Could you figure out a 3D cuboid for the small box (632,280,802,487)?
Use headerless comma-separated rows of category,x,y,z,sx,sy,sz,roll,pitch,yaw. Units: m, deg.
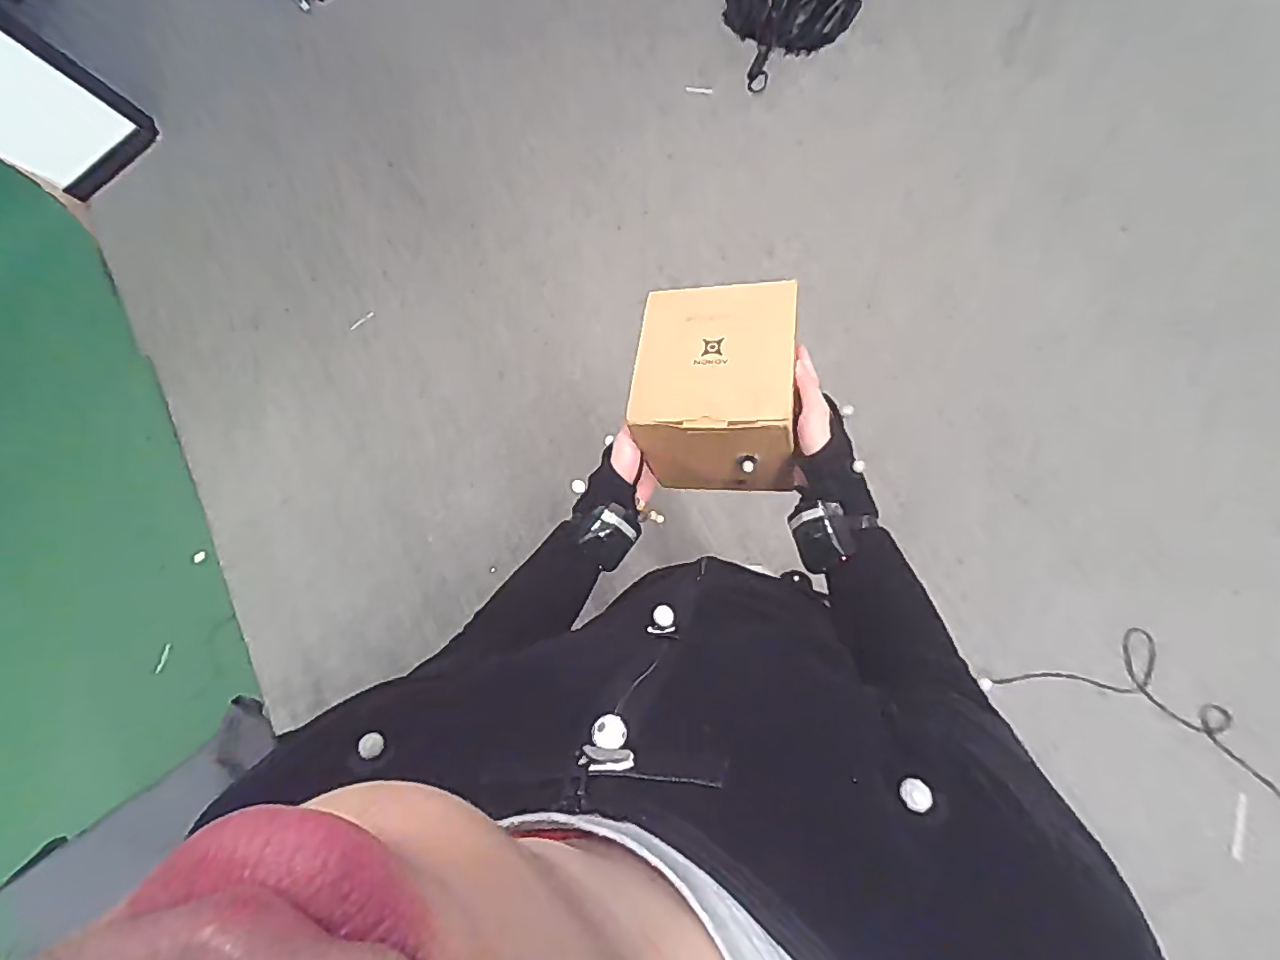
small box,0.101,-0.101,0.630,0.168,0.176,0.179,2,65,16
